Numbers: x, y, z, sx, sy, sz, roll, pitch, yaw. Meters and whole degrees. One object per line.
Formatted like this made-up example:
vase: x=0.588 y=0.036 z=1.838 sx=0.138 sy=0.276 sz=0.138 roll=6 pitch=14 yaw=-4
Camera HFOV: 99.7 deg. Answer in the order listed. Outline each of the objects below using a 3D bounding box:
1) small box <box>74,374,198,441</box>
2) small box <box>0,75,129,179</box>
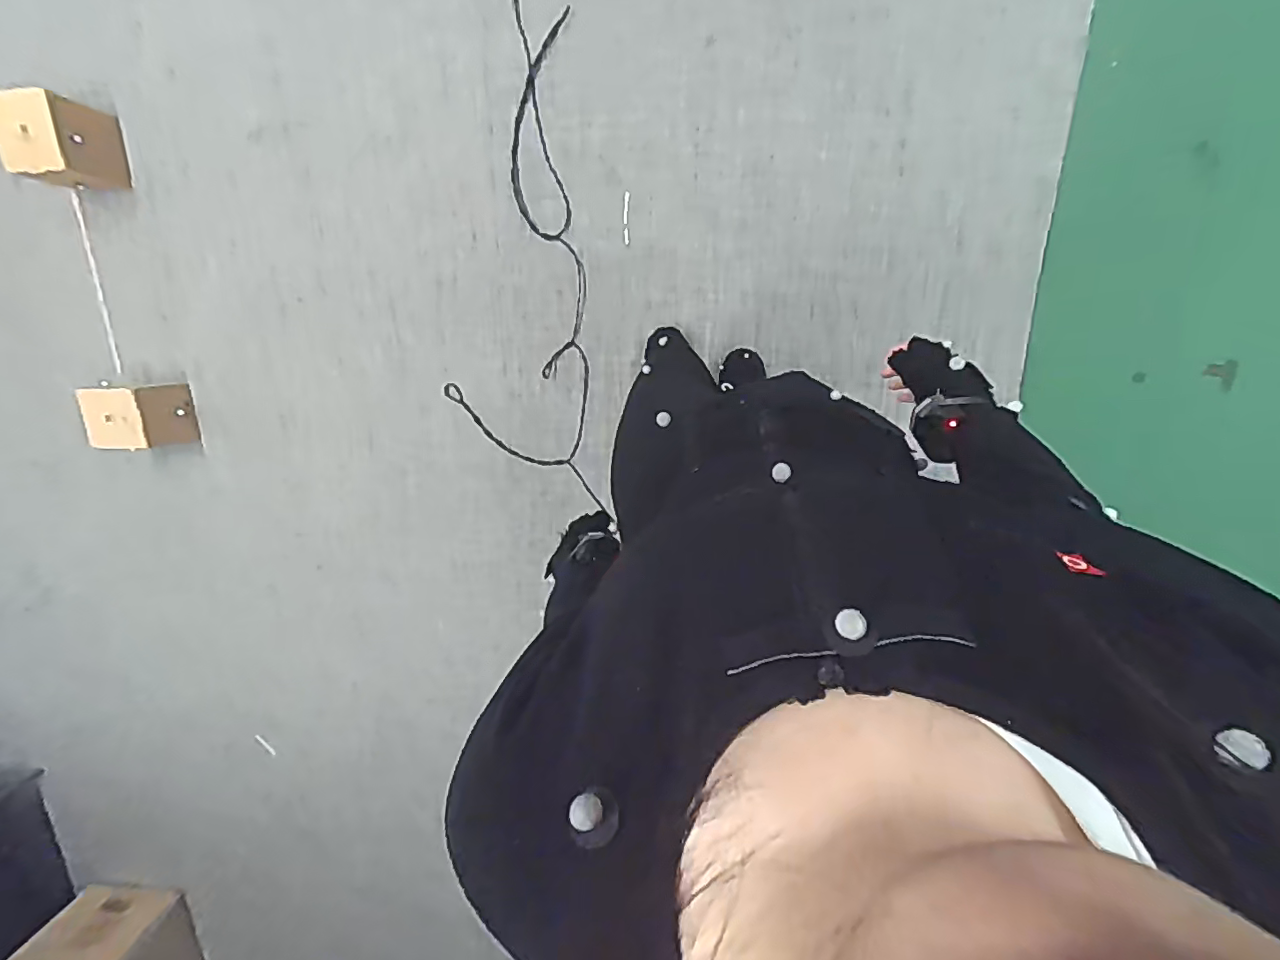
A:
small box: x=-1.417 y=-0.209 z=1.531 sx=0.179 sy=0.176 sz=0.168 roll=1 pitch=106 yaw=6
small box: x=-1.441 y=-0.867 z=1.342 sx=0.168 sy=0.176 sz=0.179 roll=1 pitch=107 yaw=5
